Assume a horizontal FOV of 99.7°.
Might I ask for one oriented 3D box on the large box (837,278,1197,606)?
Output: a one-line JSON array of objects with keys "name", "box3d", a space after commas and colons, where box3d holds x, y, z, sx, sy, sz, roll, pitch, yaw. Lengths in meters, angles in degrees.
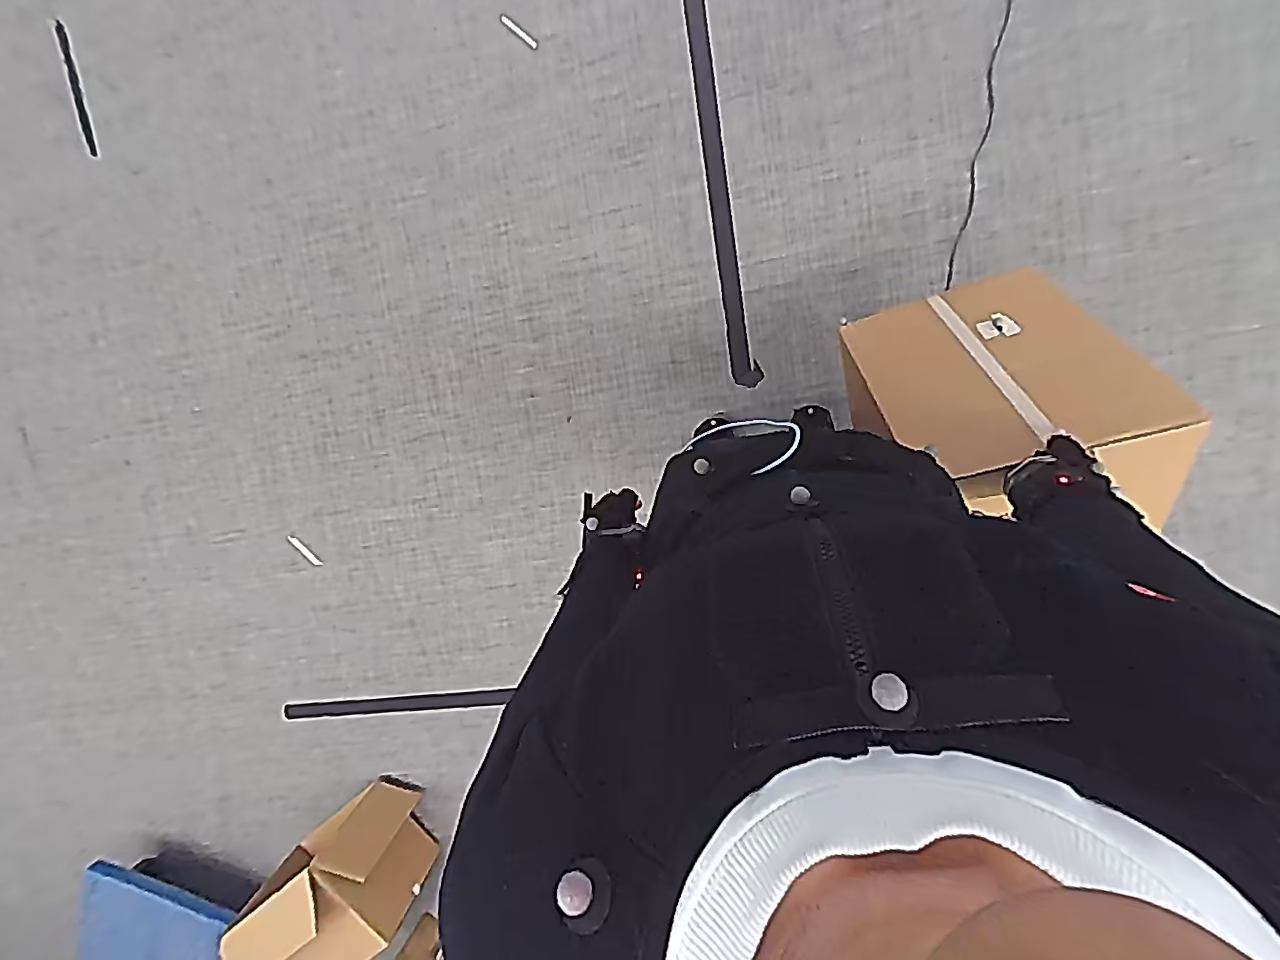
[{"name": "large box", "box3d": [0.555, -0.065, 0.898, 0.320, 0.408, 0.320, -15, 132, 13]}]
